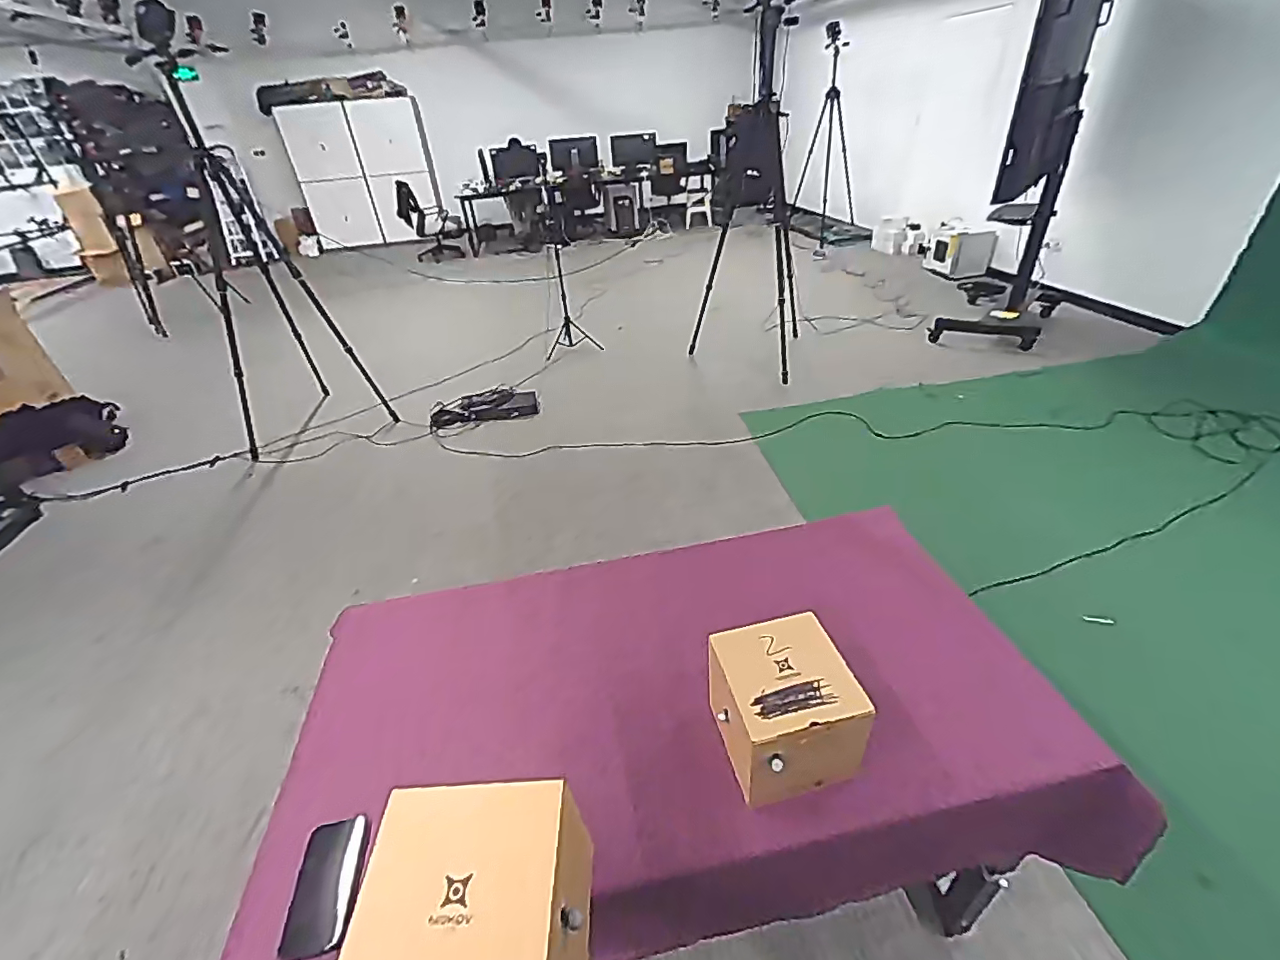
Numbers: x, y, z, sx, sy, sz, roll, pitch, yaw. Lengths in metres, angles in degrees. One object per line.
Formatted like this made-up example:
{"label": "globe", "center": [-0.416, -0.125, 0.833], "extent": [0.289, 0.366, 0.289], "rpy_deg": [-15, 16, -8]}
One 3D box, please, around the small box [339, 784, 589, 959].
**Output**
{"label": "small box", "center": [-0.141, 0.400, 0.485], "extent": [0.168, 0.176, 0.179], "rpy_deg": [-4, 40, 3]}
